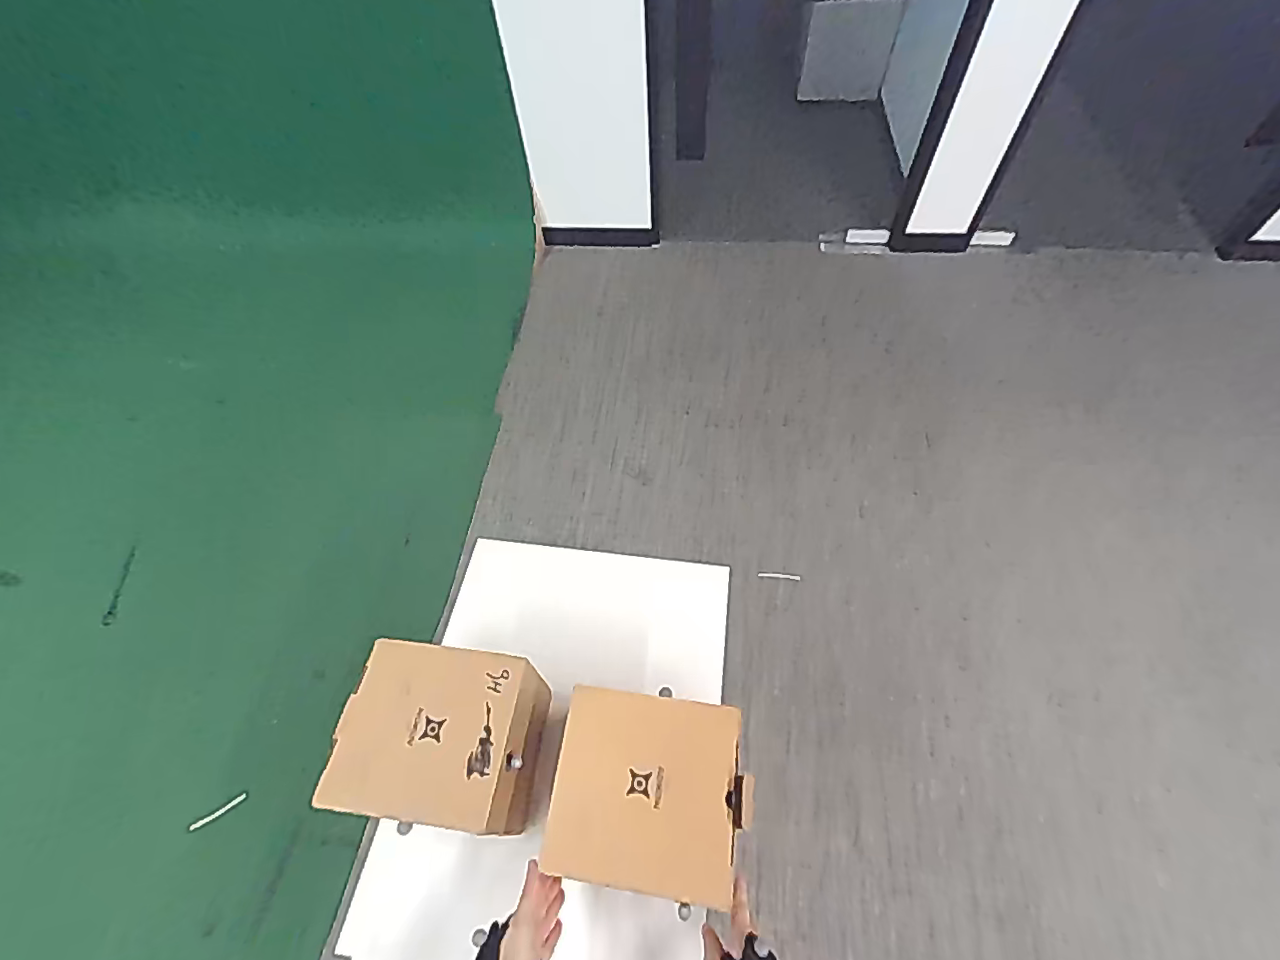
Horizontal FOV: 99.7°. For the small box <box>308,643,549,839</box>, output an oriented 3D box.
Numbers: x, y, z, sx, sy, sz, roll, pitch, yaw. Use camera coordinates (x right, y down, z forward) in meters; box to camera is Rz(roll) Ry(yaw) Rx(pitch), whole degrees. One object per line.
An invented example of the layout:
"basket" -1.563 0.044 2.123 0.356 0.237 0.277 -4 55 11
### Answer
"small box" -0.218 0.300 0.615 0.179 0.176 0.168 5 57 6
